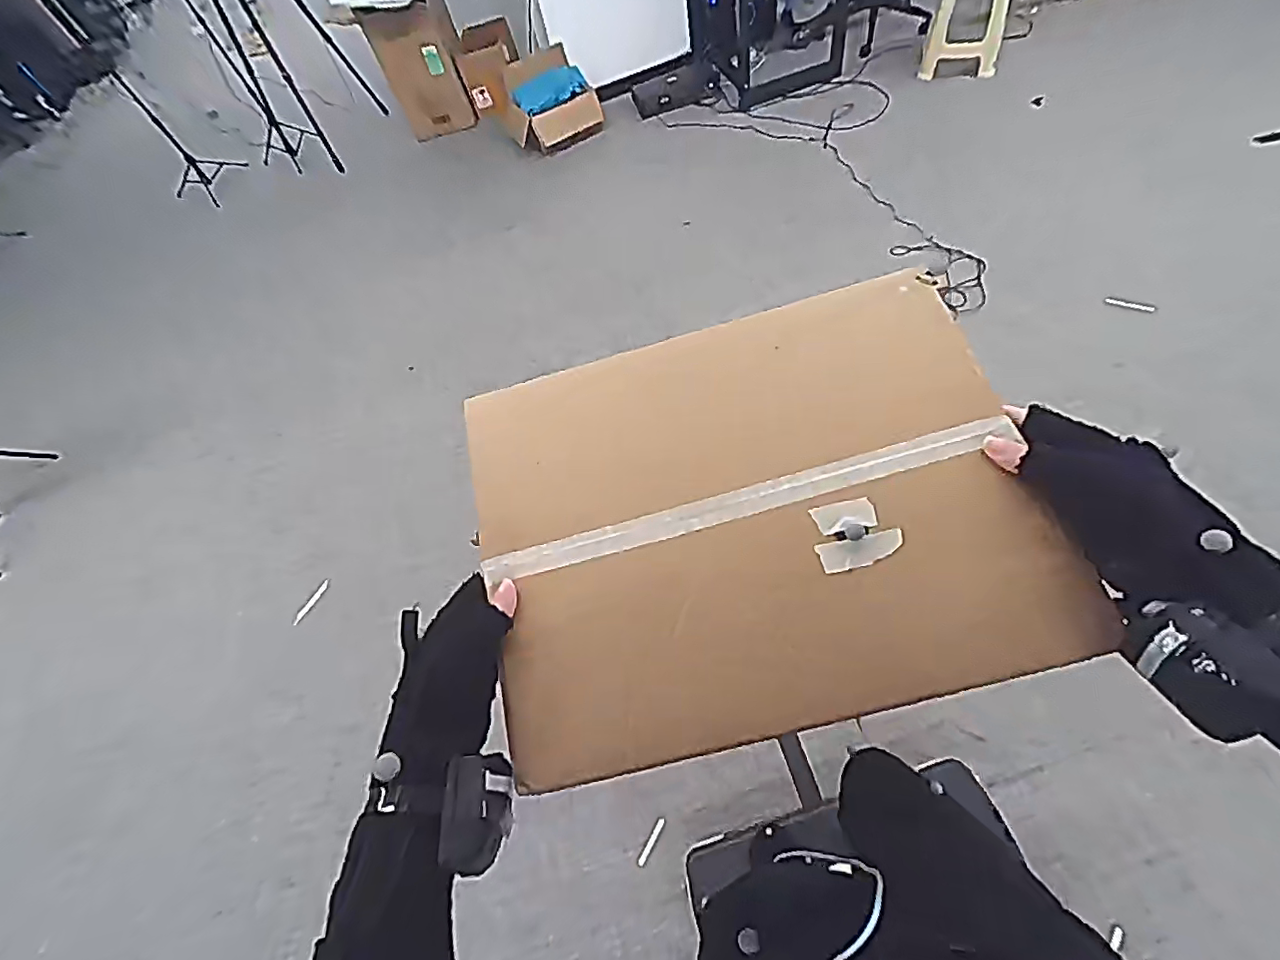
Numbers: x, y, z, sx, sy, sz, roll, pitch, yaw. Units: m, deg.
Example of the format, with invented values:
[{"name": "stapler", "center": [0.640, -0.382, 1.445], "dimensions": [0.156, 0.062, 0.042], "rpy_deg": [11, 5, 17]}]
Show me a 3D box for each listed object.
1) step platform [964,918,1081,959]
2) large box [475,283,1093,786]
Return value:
[{"name": "step platform", "center": [0.496, 1.047, 0.937], "dimensions": [0.684, 0.204, 0.286], "rpy_deg": [-21, 56, 1]}, {"name": "large box", "center": [0.098, 0.073, 0.559], "dimensions": [0.408, 0.320, 0.320], "rpy_deg": [-16, 69, 3]}]
